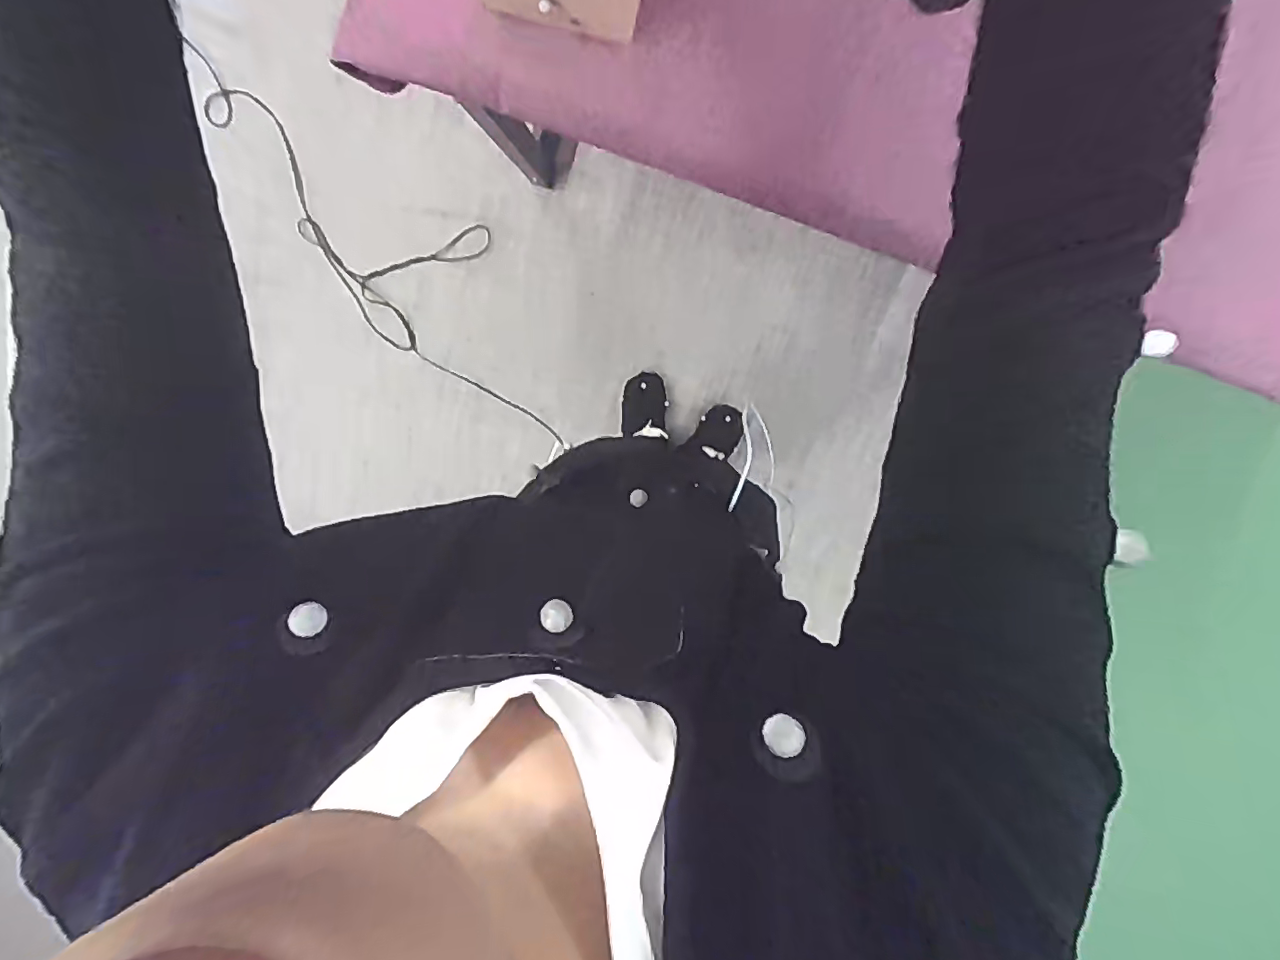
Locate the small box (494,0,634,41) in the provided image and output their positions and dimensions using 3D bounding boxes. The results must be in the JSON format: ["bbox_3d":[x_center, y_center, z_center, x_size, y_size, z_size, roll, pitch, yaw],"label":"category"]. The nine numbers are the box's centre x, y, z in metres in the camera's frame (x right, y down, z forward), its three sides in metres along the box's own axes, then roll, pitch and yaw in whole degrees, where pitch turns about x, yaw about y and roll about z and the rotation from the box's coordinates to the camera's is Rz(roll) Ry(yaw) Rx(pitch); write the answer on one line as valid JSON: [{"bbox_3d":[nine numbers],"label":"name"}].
[{"bbox_3d":[-0.075,-0.570,0.503,0.168,0.176,0.179,15,105,-2],"label":"small box"}]
